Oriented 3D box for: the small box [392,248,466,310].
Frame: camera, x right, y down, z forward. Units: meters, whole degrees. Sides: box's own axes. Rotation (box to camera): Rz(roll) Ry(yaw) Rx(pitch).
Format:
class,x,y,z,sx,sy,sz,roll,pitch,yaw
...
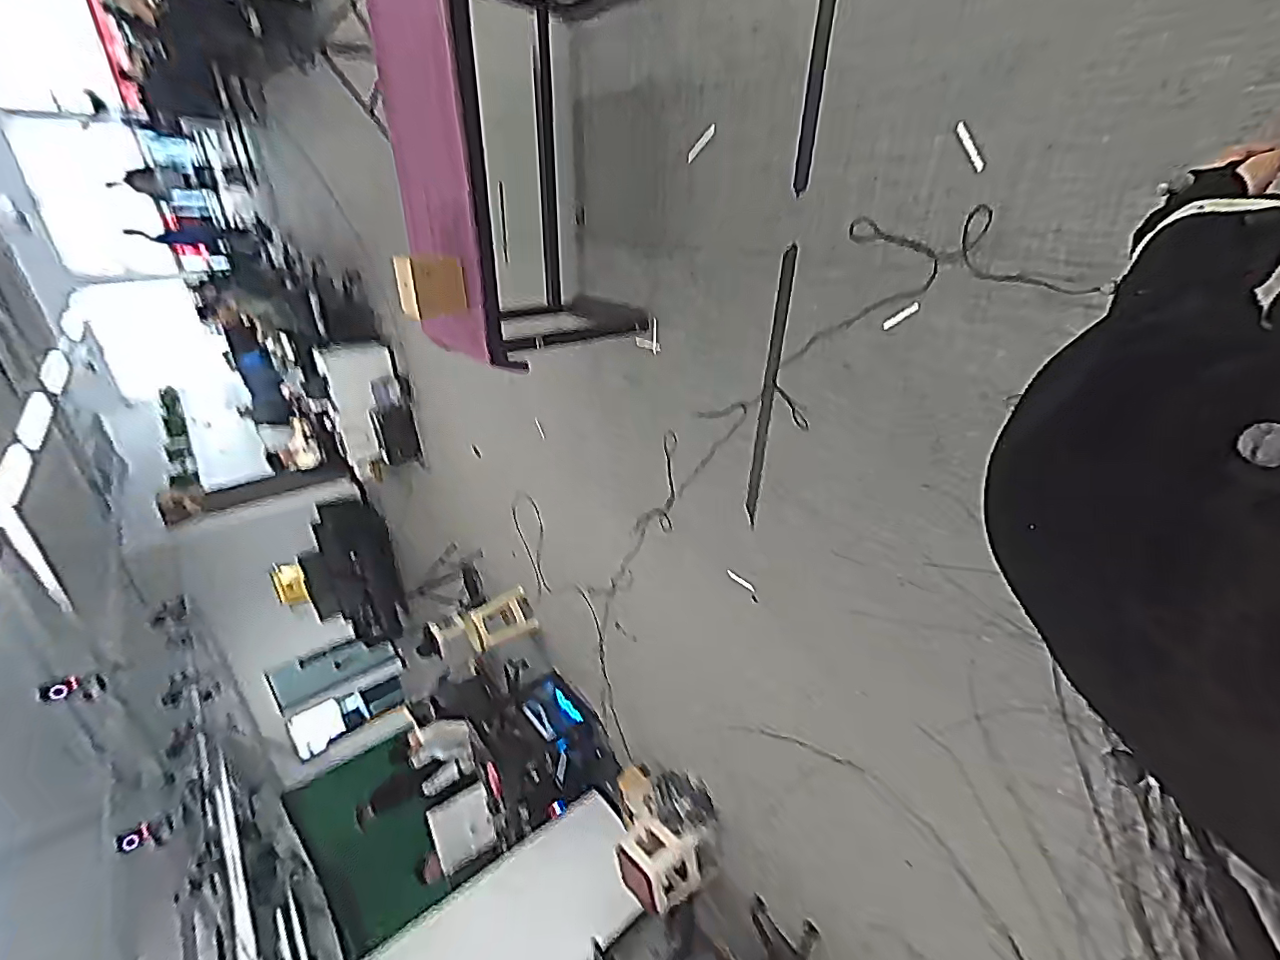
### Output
class,x,y,z,sx,sy,sz,roll,pitch,yaw
small box,-0.699,-0.674,1.799,0.168,0.176,0.179,29,129,45
